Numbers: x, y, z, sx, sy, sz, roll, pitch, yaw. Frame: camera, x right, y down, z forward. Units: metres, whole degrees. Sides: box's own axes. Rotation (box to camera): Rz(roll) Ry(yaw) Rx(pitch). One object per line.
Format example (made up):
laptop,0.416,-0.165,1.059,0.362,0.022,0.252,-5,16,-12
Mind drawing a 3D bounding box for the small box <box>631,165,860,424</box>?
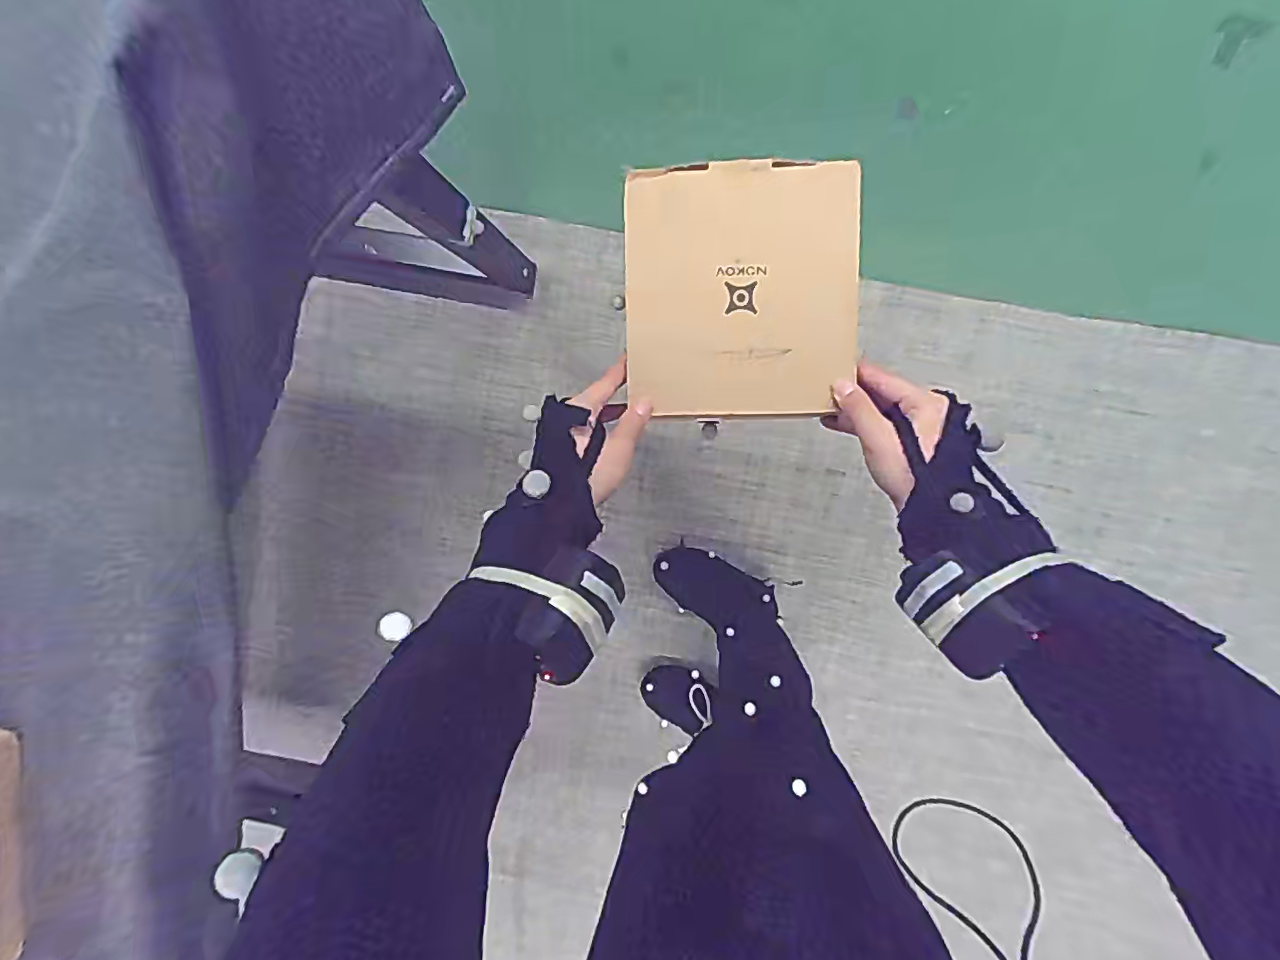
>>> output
small box,0.079,-0.140,0.469,0.168,0.176,0.179,-1,95,4
